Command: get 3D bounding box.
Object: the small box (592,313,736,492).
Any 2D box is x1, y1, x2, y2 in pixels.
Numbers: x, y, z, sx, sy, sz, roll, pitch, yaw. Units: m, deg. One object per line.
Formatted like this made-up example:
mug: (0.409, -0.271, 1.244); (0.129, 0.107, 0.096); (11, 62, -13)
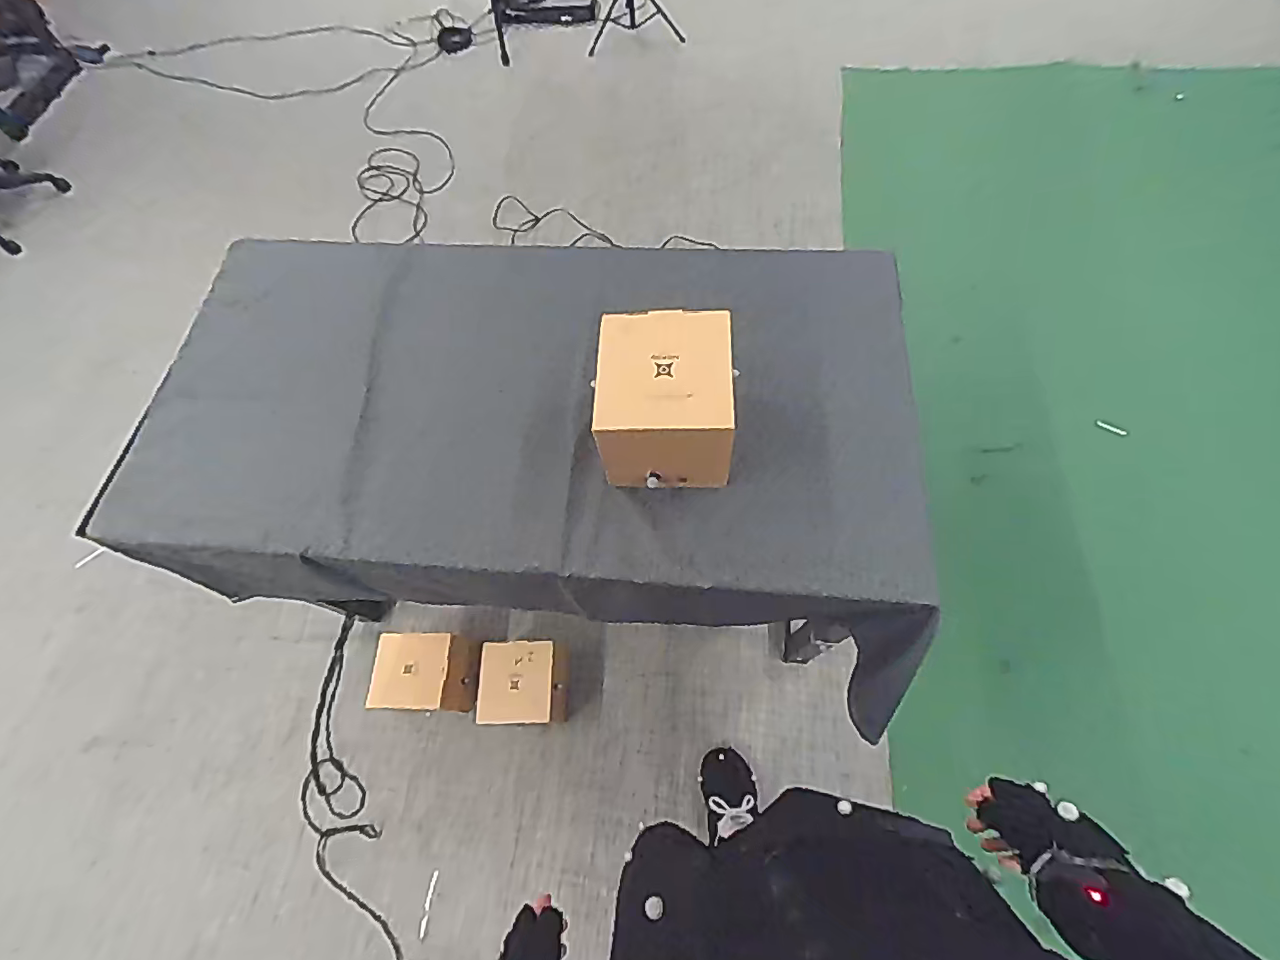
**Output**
small box: (0.036, -0.098, 0.716); (0.168, 0.176, 0.179); (0, 65, 6)
